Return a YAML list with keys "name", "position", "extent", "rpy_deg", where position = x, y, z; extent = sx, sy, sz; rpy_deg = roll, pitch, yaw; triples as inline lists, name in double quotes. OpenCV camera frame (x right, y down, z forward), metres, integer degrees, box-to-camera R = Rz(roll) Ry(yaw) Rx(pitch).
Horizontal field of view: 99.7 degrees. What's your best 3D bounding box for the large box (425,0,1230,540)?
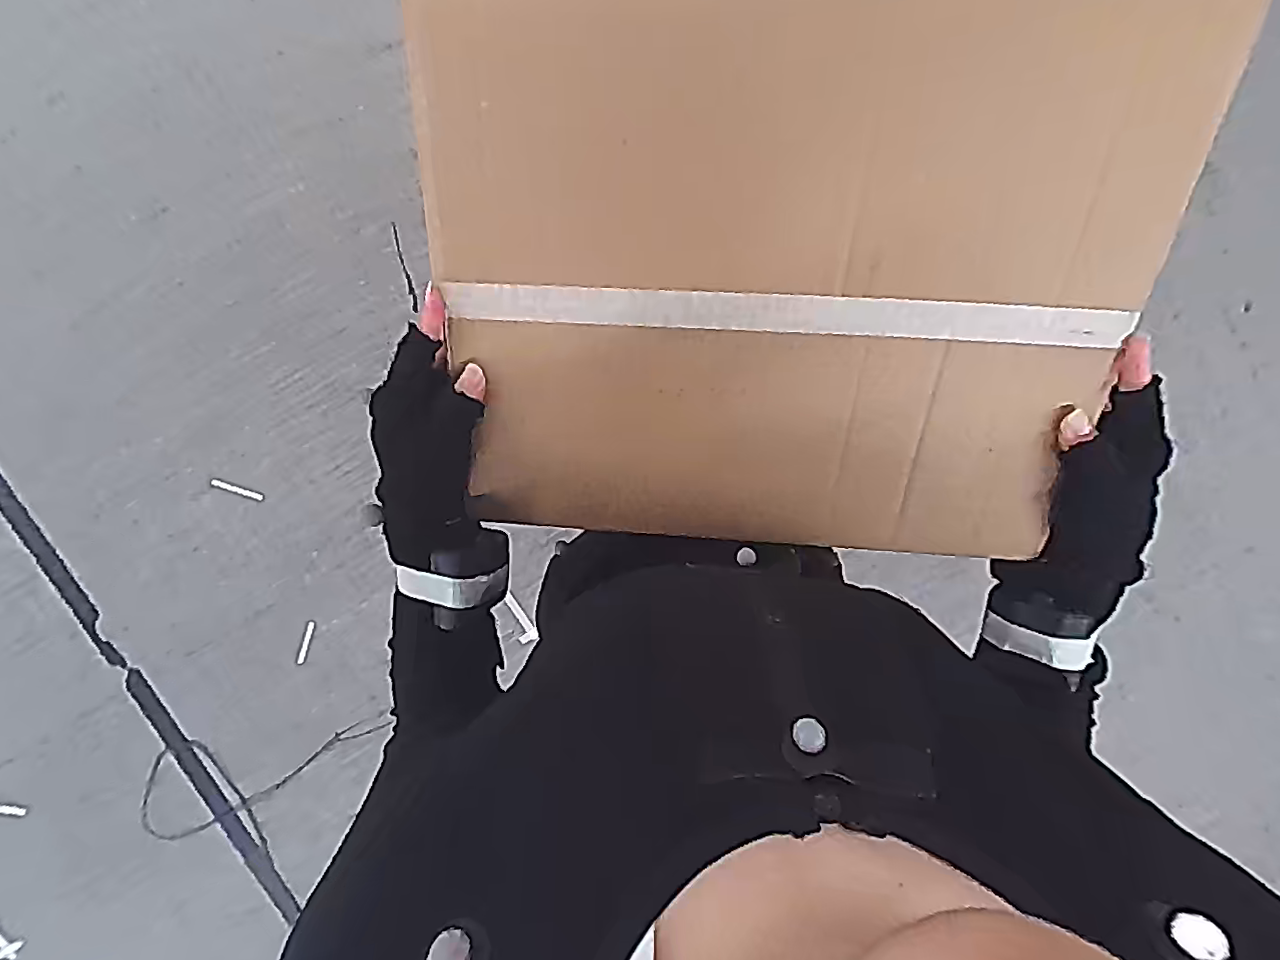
- name: "large box"
  position: [0.089, -0.167, 0.464]
  extent: [0.408, 0.320, 0.320]
  rpy_deg: [4, 116, 2]
